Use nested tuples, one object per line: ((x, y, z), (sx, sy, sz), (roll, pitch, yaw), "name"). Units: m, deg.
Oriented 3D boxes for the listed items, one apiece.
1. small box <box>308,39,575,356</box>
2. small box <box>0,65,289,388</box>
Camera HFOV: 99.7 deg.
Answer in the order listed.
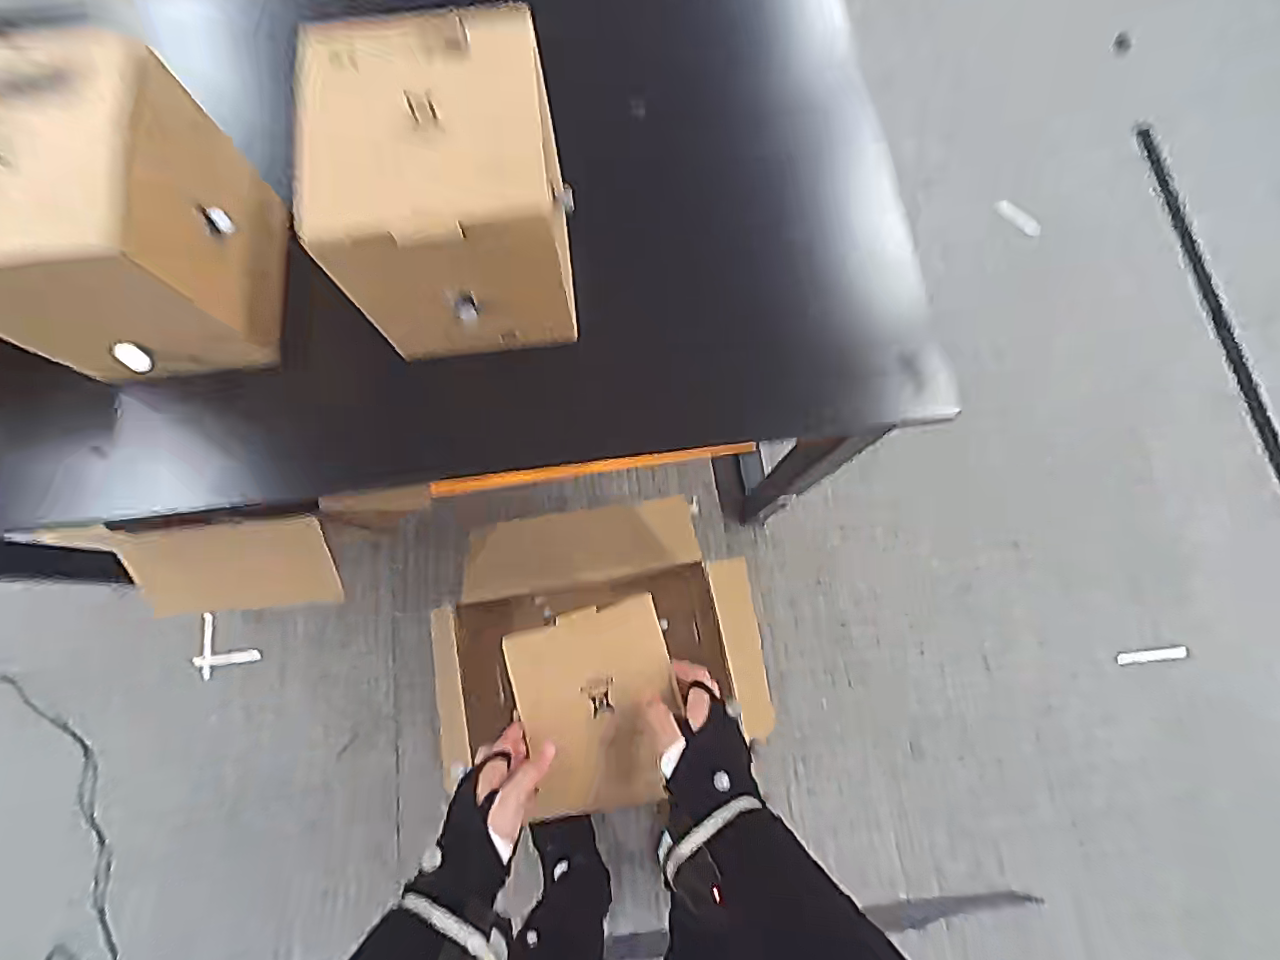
((-0.151, -0.219, 0.462), (0.168, 0.176, 0.179), (-7, 76, -2), "small box")
((-0.426, -0.196, 0.453), (0.168, 0.176, 0.179), (-6, 76, -2), "small box")
